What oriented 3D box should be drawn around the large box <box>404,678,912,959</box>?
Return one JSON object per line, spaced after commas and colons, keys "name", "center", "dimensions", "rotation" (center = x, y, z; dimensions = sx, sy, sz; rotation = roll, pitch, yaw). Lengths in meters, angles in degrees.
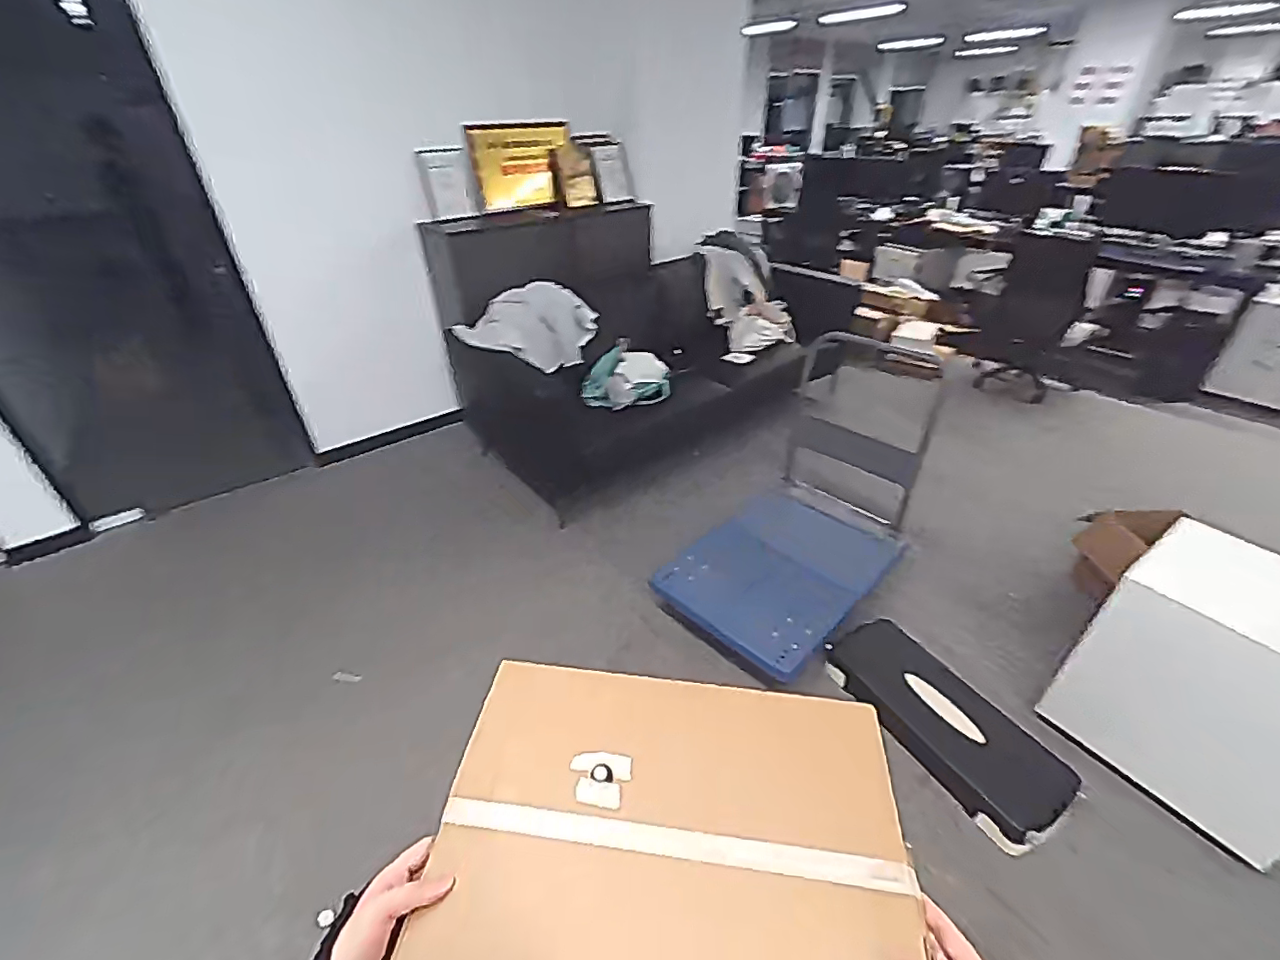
{"name": "large box", "center": [0.028, 0.441, 0.572], "dimensions": [0.408, 0.320, 0.320], "rotation": [2, 39, 7]}
